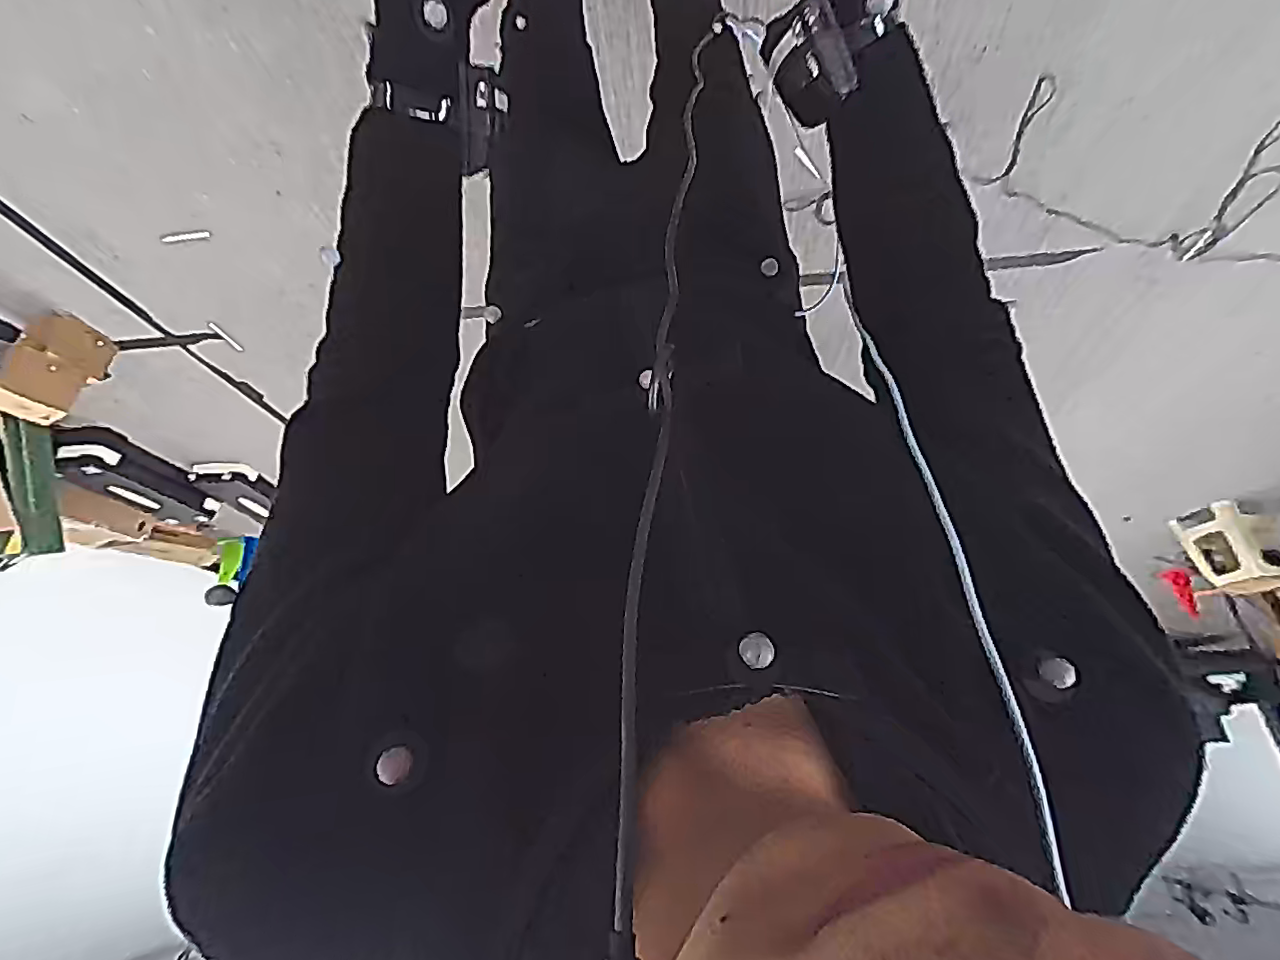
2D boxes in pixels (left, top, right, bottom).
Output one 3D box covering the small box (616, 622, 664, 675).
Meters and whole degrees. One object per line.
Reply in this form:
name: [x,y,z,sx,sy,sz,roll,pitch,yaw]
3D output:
small box: [0.004,0.639,2.045,0.168,0.176,0.179,-4,152,6]
